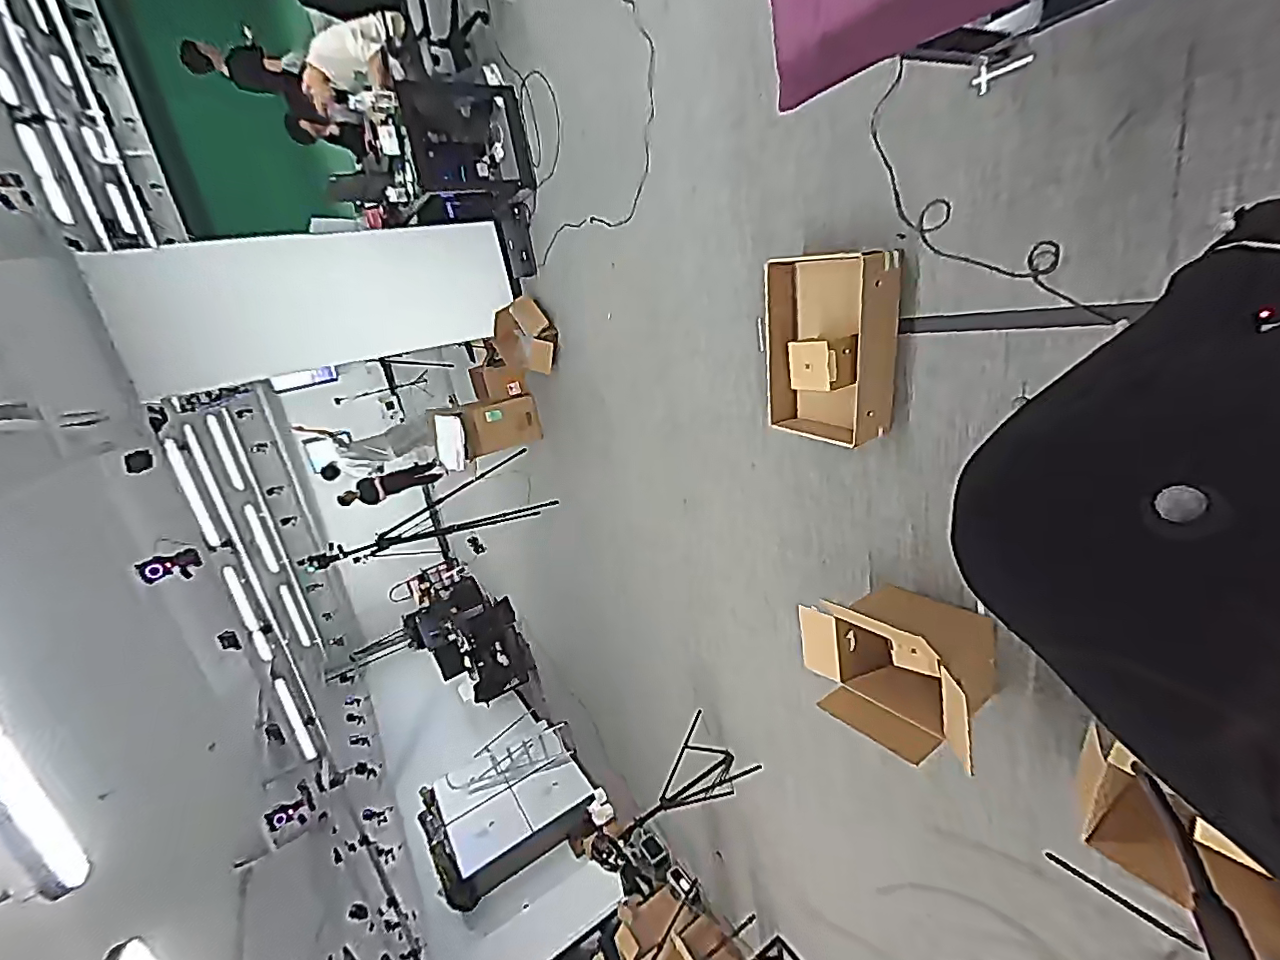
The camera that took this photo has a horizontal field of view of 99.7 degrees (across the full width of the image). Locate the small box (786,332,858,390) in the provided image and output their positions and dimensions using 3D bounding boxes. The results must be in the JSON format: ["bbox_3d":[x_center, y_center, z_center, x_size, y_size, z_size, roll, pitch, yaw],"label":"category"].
[{"bbox_3d":[0.633,-0.414,1.868,0.179,0.176,0.168,19,122,55],"label":"small box"}]
